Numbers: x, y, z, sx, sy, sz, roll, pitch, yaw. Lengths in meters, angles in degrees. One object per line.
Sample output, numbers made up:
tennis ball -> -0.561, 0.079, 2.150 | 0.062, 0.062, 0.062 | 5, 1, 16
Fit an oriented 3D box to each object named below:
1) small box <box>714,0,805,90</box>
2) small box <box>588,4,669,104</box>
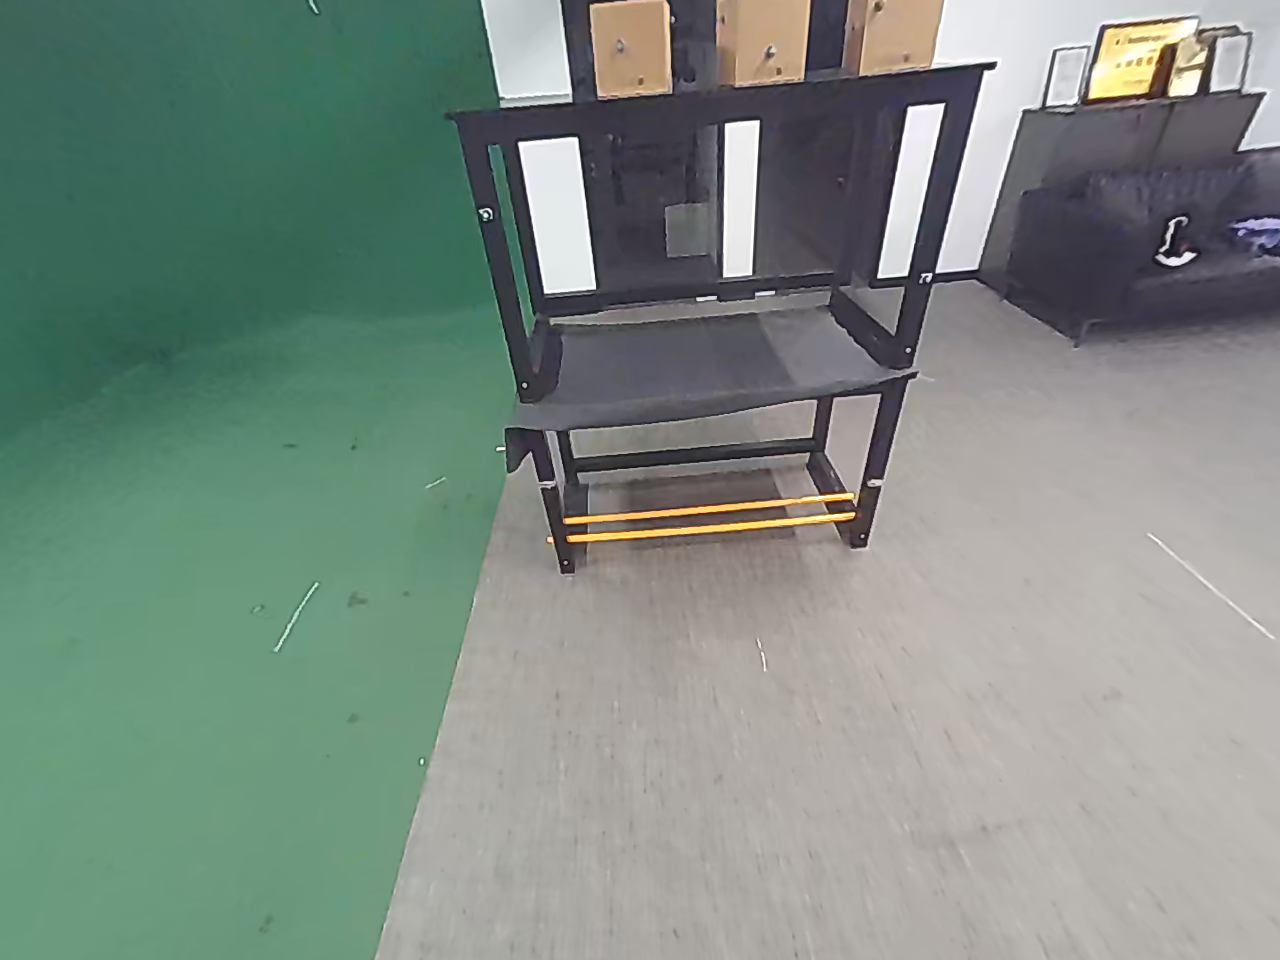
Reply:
small box -> 0.273, -1.029, 1.276 | 0.168, 0.176, 0.179 | -9, 37, -3
small box -> -0.020, -1.011, 1.293 | 0.168, 0.176, 0.179 | 0, 36, 7
